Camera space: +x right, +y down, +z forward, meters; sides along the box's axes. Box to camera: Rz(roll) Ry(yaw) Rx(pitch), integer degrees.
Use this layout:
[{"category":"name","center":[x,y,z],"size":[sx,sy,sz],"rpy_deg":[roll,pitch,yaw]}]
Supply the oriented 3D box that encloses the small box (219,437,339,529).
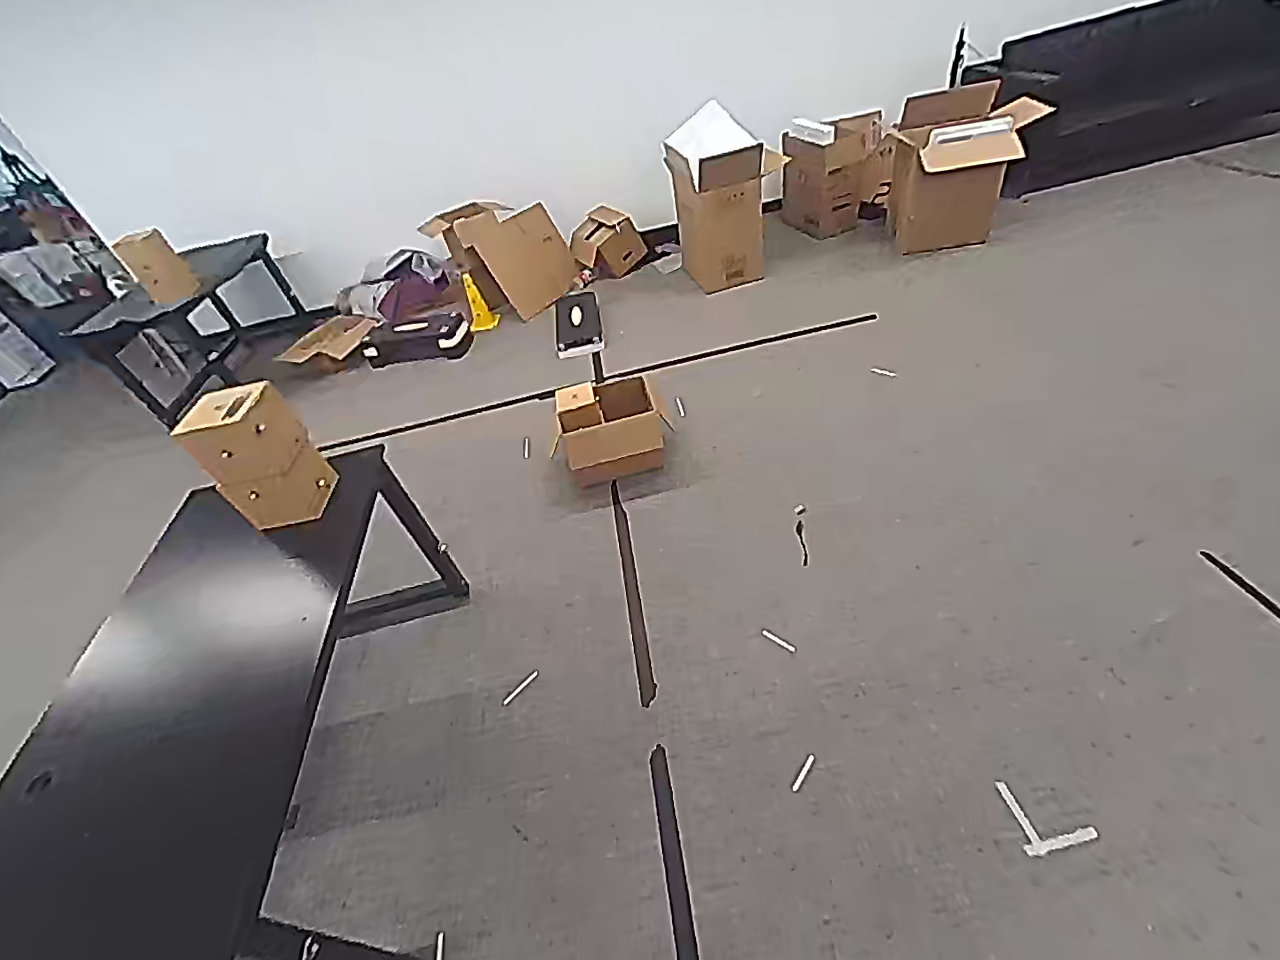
[{"category":"small box","center":[-0.951,0.013,1.443],"size":[0.179,0.176,0.168],"rpy_deg":[-10,44,4]}]
